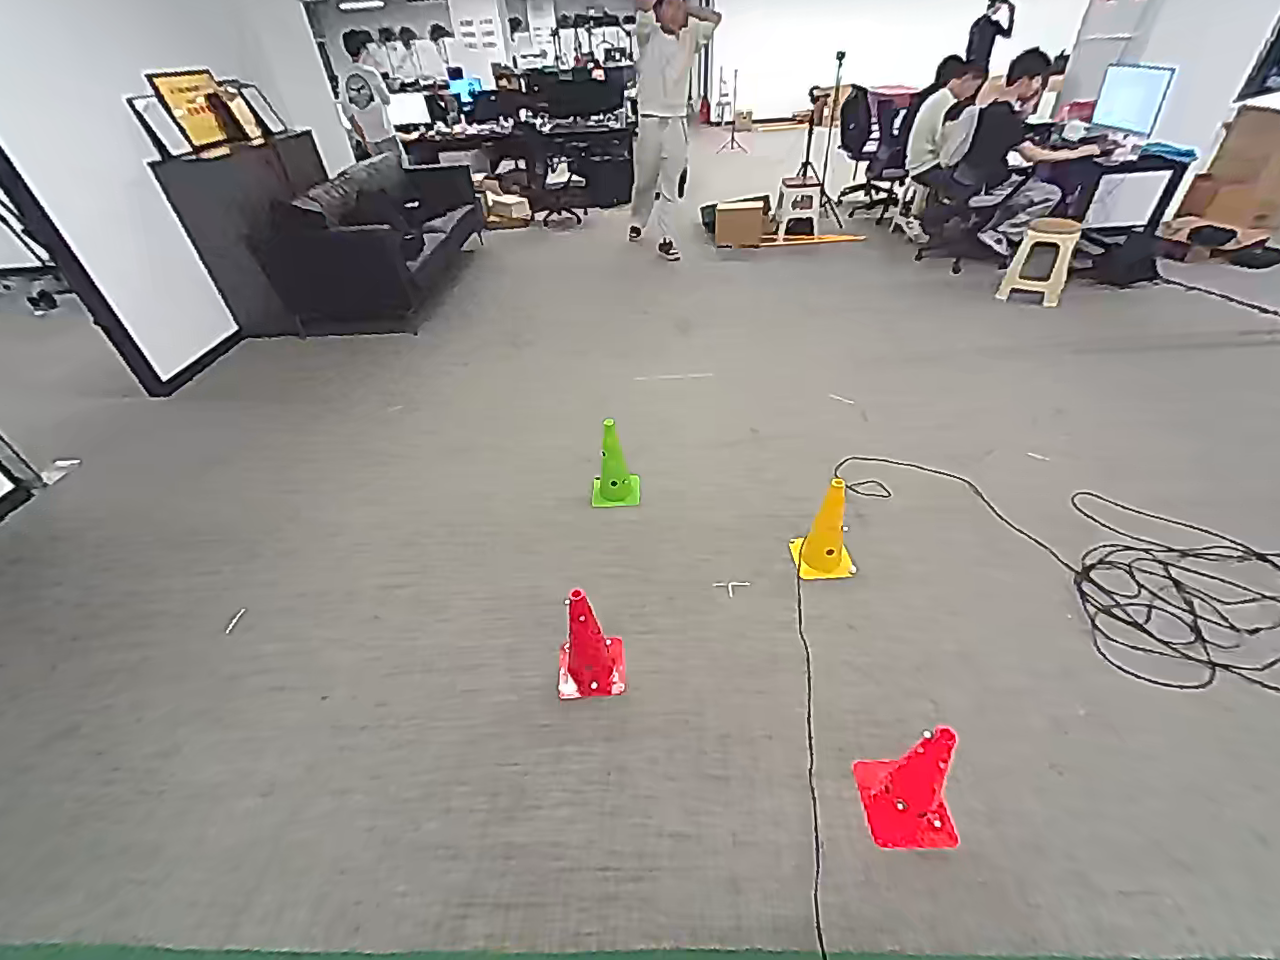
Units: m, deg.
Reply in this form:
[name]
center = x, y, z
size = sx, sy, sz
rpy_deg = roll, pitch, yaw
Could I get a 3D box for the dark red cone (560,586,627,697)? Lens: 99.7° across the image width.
[dark red cone]
center = -0.152, 0.442, 1.552
size = 0.202, 0.394, 0.201
rpy_deg = -6, 40, -1

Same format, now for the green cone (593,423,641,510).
[green cone]
center = -0.105, -0.070, 2.226
size = 0.202, 0.368, 0.200
rpy_deg = -2, 39, 1

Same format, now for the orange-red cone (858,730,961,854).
[orange-red cone]
center = 0.648, 0.668, 1.225
size = 0.198, 0.360, 0.199
rpy_deg = -1, 38, 3
